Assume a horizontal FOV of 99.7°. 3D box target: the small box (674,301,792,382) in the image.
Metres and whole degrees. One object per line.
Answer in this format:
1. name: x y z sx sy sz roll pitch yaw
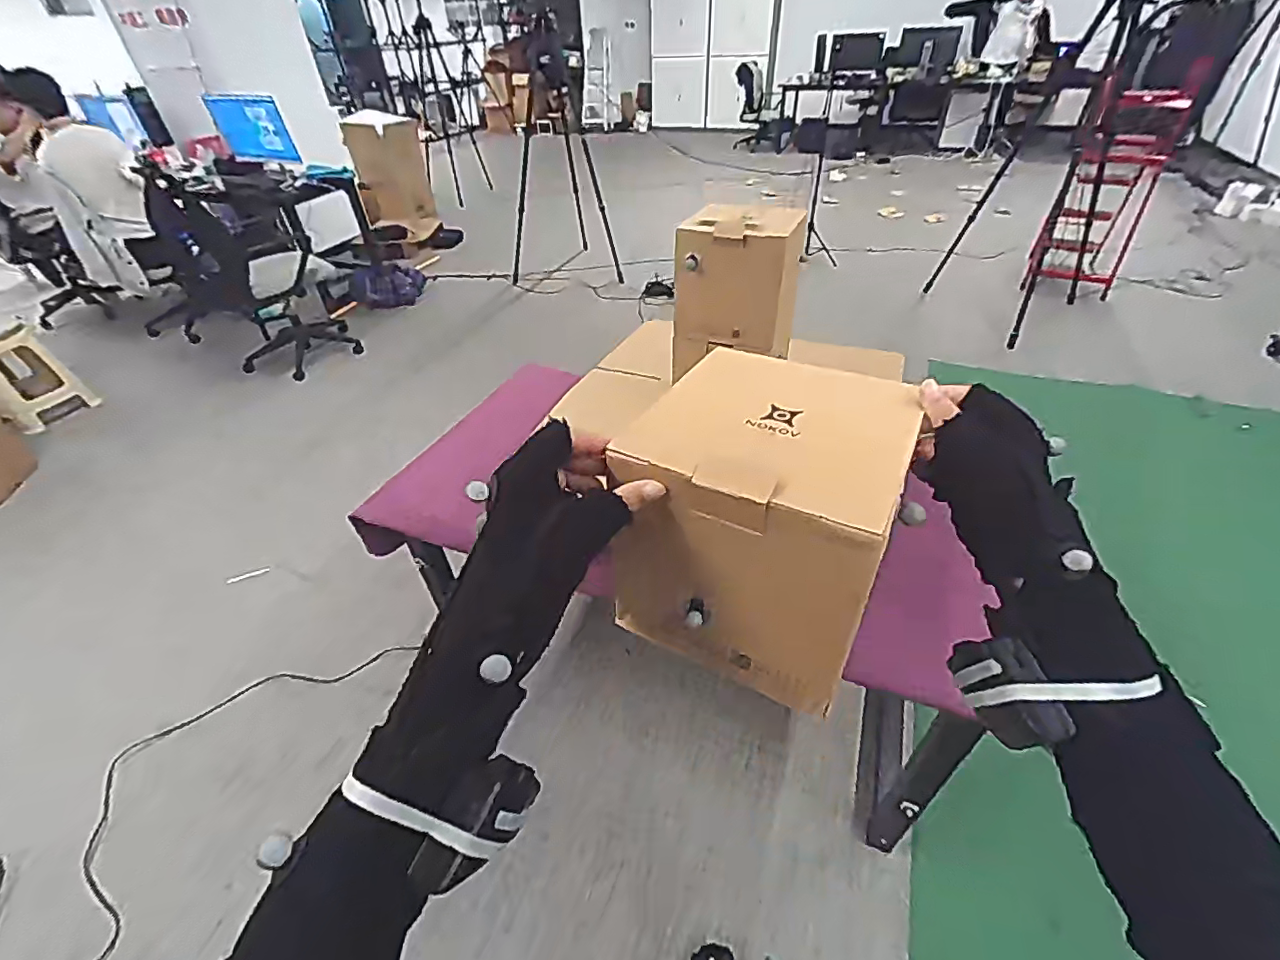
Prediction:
1. small box: 0.166 -0.201 0.971 0.168 0.176 0.179 13 43 18

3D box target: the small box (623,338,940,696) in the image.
1. small box: 0.100 0.017 0.404 0.168 0.176 0.179 19 42 24
